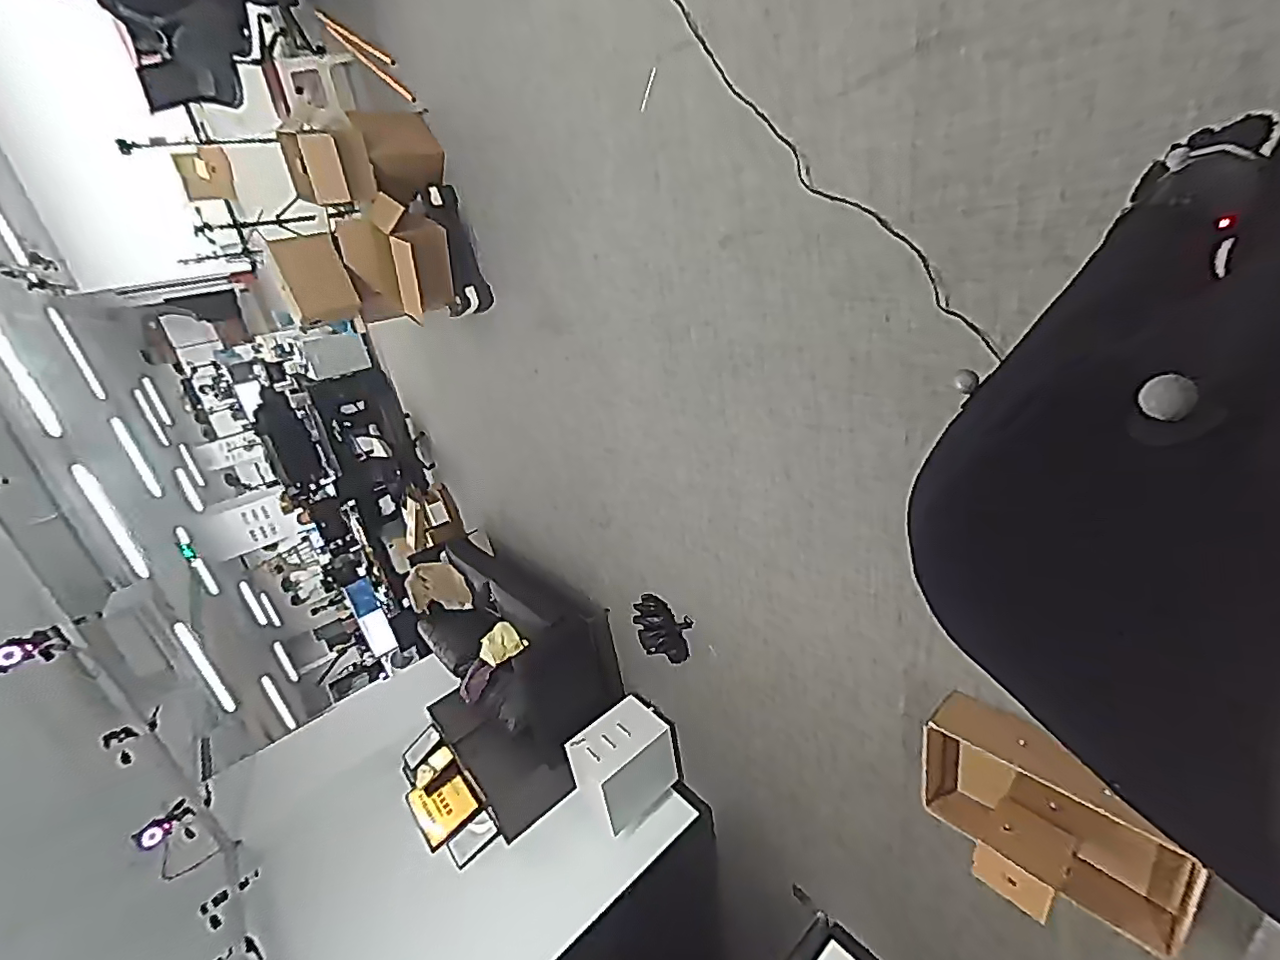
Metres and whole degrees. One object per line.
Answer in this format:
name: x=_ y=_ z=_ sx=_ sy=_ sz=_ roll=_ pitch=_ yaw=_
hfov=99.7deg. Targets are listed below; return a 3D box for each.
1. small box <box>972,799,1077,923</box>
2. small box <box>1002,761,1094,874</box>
small box: x=1.008 y=0.986 z=1.423 sx=0.179 sy=0.176 sz=0.168 roll=16 pitch=126 yaw=50
small box: x=1.151 y=0.941 z=1.528 sx=0.179 sy=0.176 sz=0.168 roll=15 pitch=125 yaw=50
